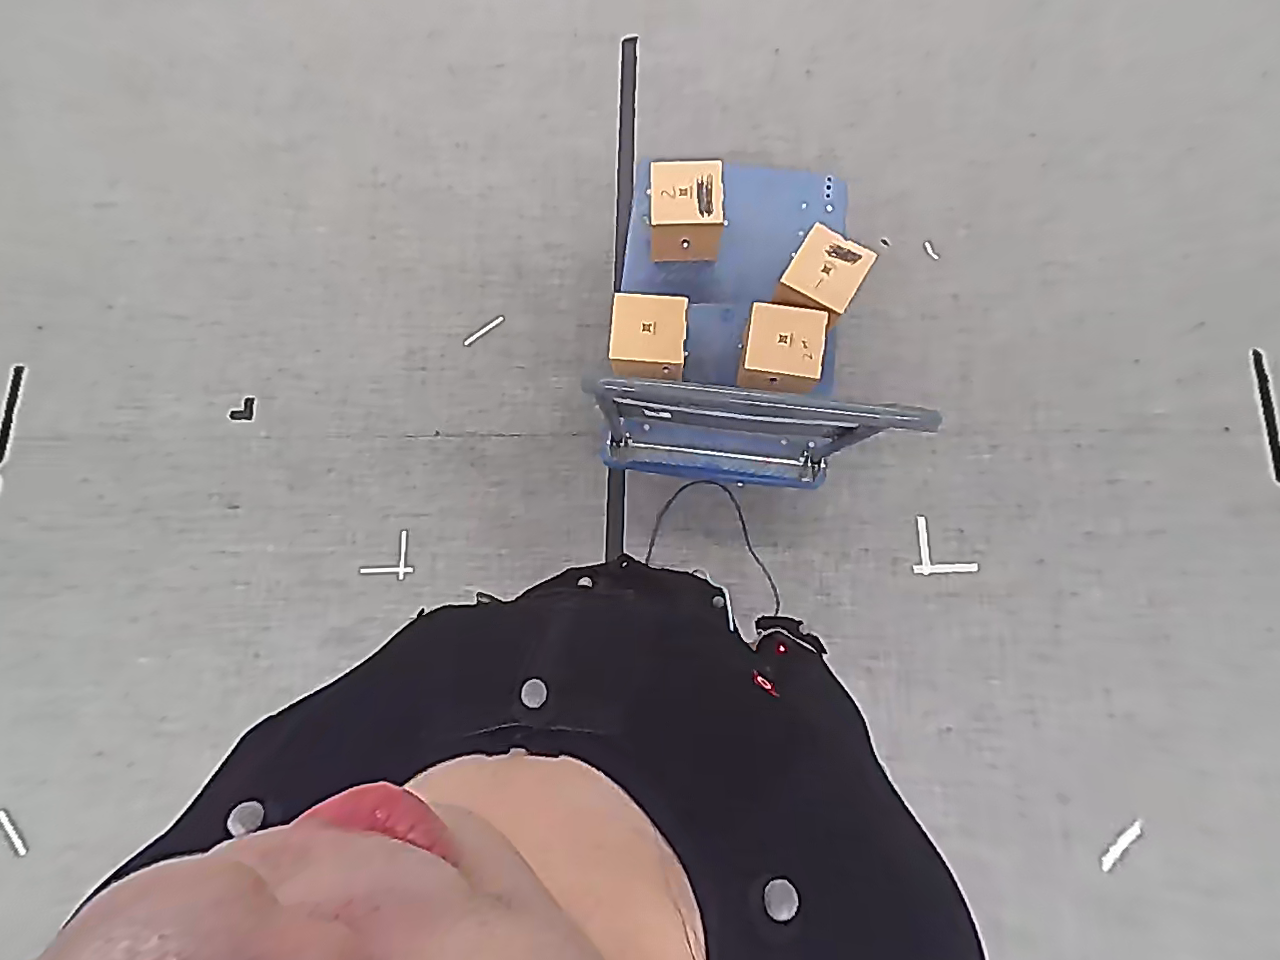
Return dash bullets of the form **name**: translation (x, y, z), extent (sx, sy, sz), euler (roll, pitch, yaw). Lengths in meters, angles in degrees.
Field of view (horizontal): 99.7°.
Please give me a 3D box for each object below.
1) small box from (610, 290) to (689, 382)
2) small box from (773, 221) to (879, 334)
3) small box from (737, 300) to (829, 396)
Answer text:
- **small box**: translation (0.025, -0.347, 1.332), extent (0.179, 0.176, 0.168), euler (4, 82, 2)
- **small box**: translation (0.446, -0.487, 1.334), extent (0.168, 0.176, 0.179), euler (32, 85, 7)
- **small box**: translation (0.340, -0.312, 1.313), extent (0.179, 0.176, 0.168), euler (10, 83, 4)
